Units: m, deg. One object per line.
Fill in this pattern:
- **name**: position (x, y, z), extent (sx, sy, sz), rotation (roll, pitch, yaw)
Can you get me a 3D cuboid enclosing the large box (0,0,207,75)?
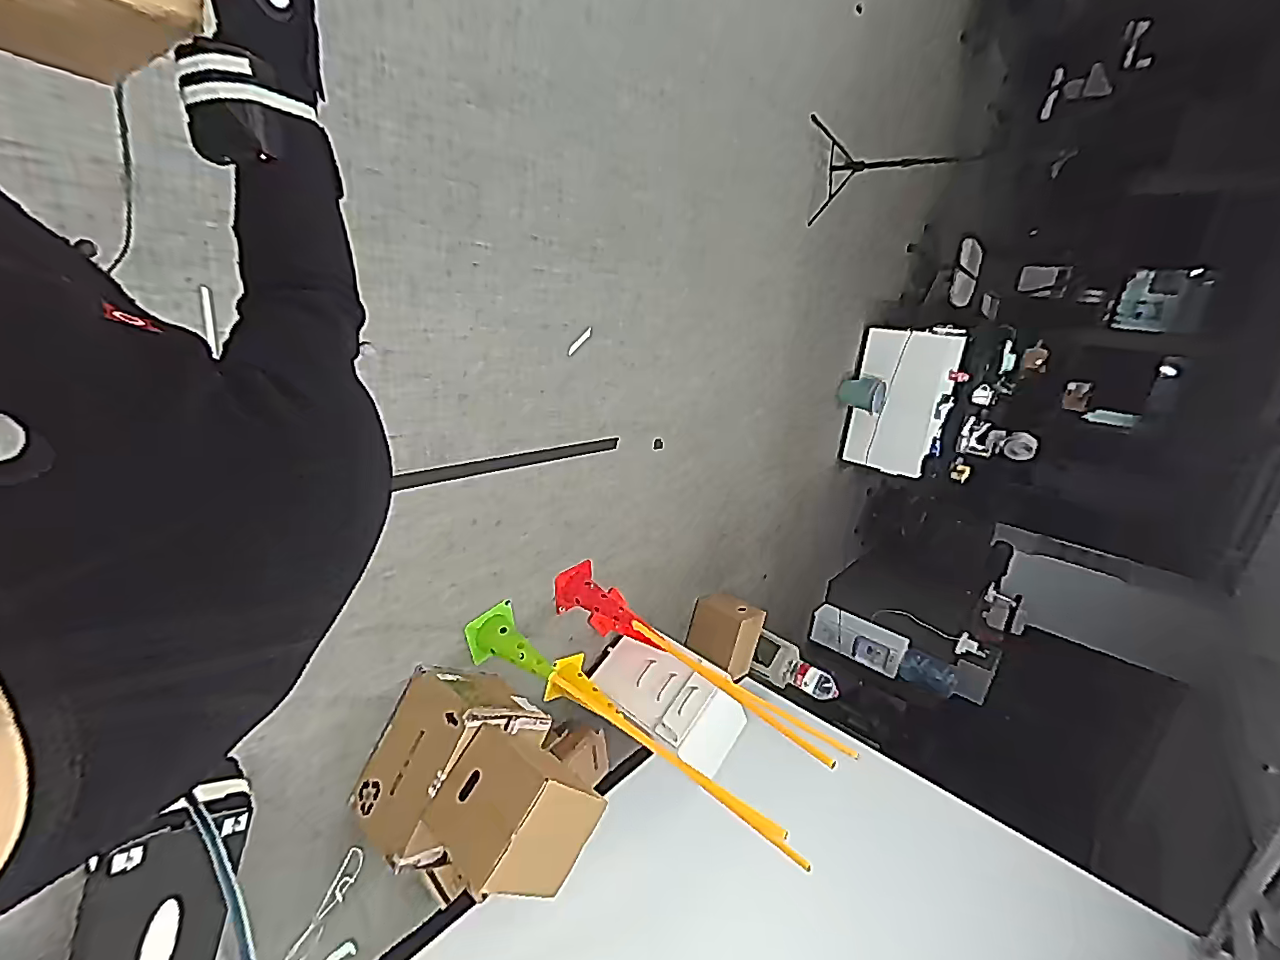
- **large box**: position (-0.516, -0.474, 0.262), extent (0.408, 0.320, 0.320), rotation (-12, 118, -51)
